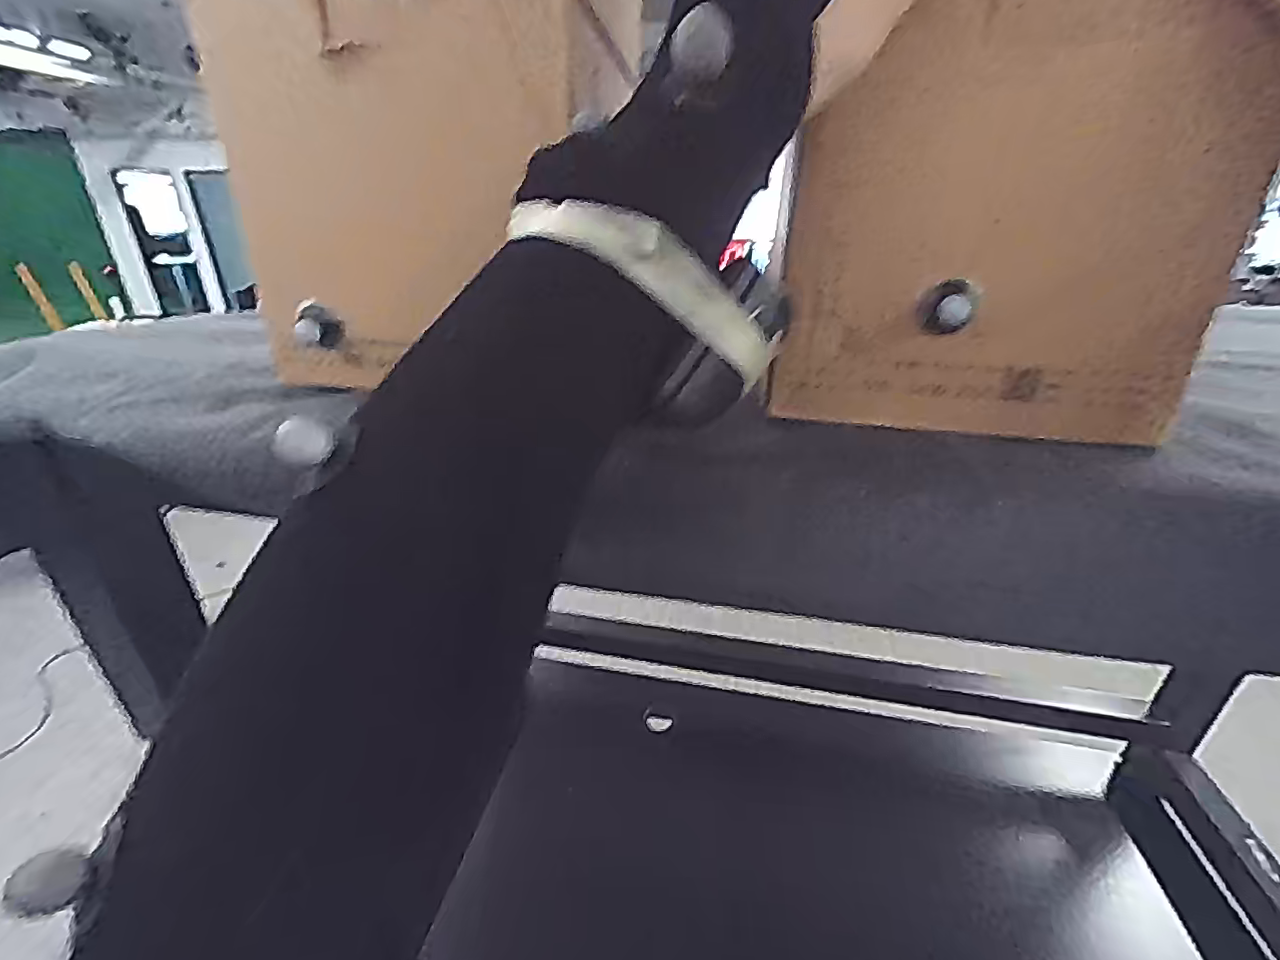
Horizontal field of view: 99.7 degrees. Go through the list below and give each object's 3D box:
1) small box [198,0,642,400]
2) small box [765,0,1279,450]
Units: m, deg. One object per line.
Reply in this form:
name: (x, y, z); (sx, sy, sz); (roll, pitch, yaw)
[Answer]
small box: (-0.094, -0.151, 0.321); (0.168, 0.176, 0.179); (6, 24, 7)
small box: (0.159, -0.128, 0.285); (0.168, 0.176, 0.179); (6, 25, 10)
